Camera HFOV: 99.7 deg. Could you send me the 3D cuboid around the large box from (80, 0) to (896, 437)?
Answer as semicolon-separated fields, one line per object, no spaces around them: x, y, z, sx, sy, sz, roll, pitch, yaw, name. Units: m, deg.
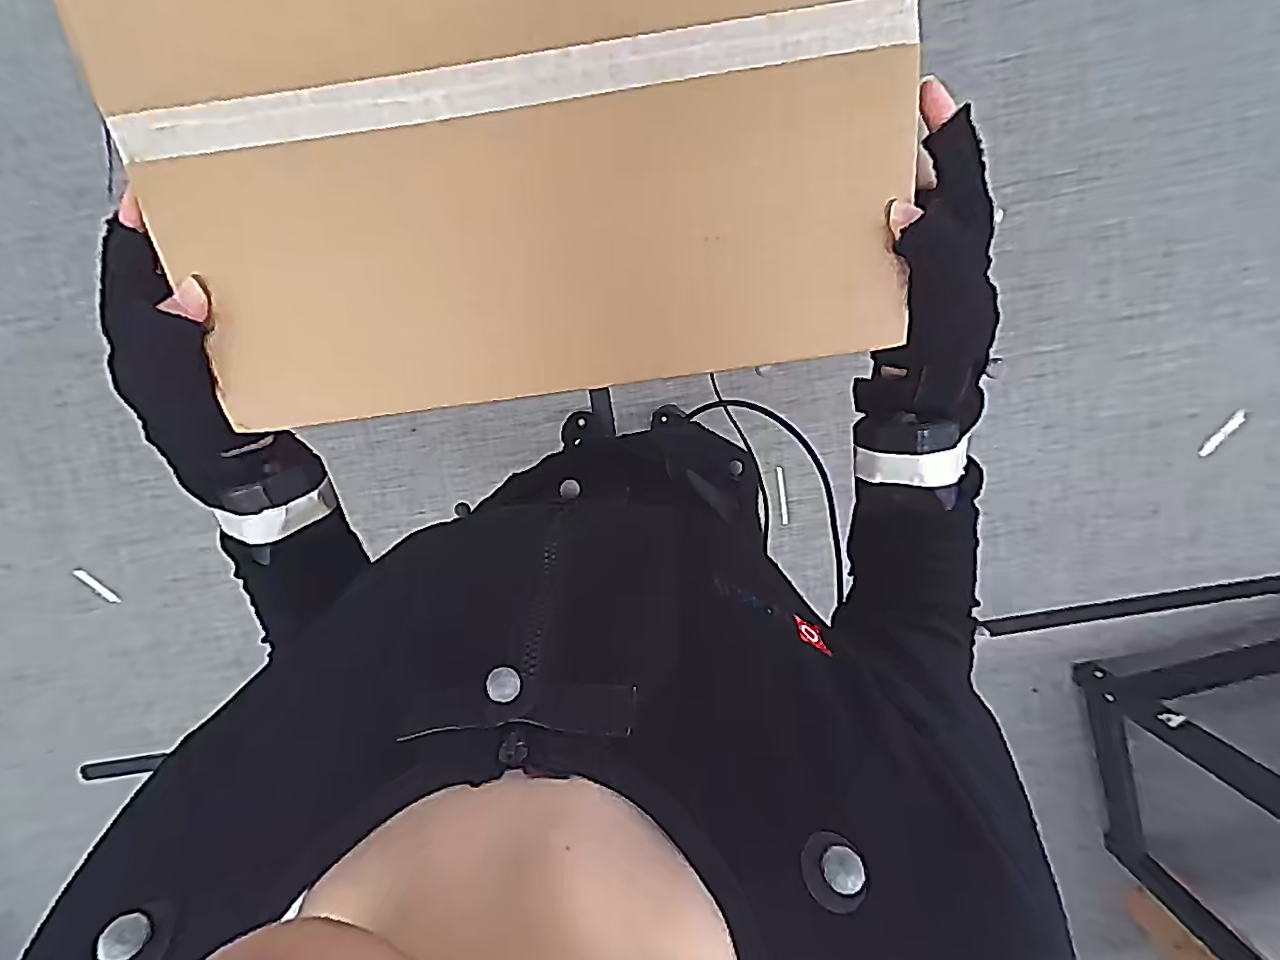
-0.067;-0.248;0.421;0.408;0.320;0.320;-8;109;2;large box
